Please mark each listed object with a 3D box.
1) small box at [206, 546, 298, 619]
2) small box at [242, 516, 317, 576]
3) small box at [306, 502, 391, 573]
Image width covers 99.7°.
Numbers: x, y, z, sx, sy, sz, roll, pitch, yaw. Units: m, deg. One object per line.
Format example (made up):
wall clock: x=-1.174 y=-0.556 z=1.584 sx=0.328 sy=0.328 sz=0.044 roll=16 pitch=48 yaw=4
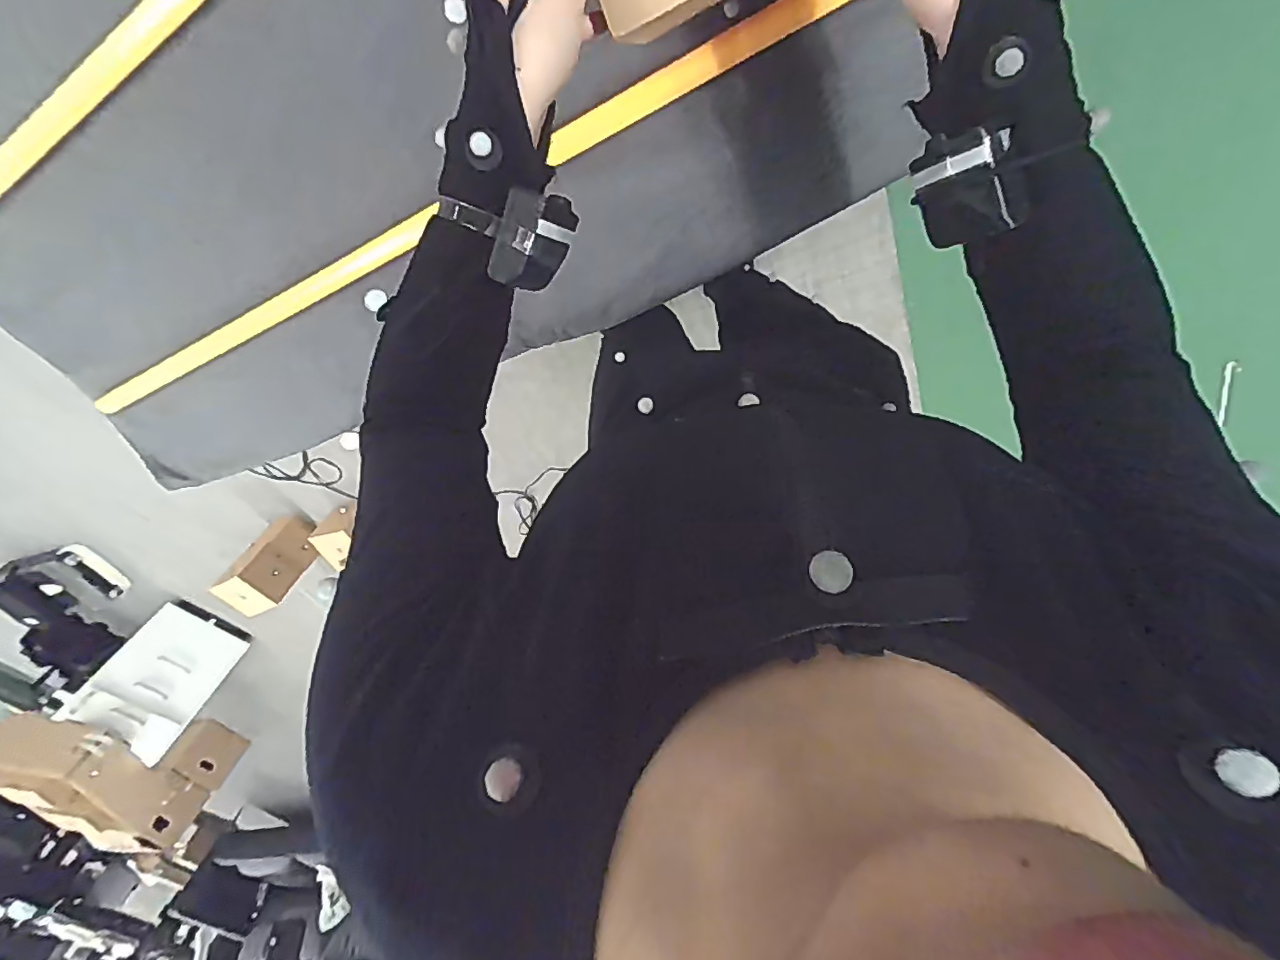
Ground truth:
small box: x=-1.354 y=0.358 z=1.904 sx=0.179 sy=0.176 sz=0.168 roll=-20 pitch=123 yaw=24
small box: x=-1.340 y=0.261 z=2.037 sx=0.179 sy=0.176 sz=0.168 roll=-19 pitch=124 yaw=23
small box: x=-1.040 y=0.207 z=1.947 sx=0.168 sy=0.176 sz=0.179 roll=-12 pitch=125 yaw=17
